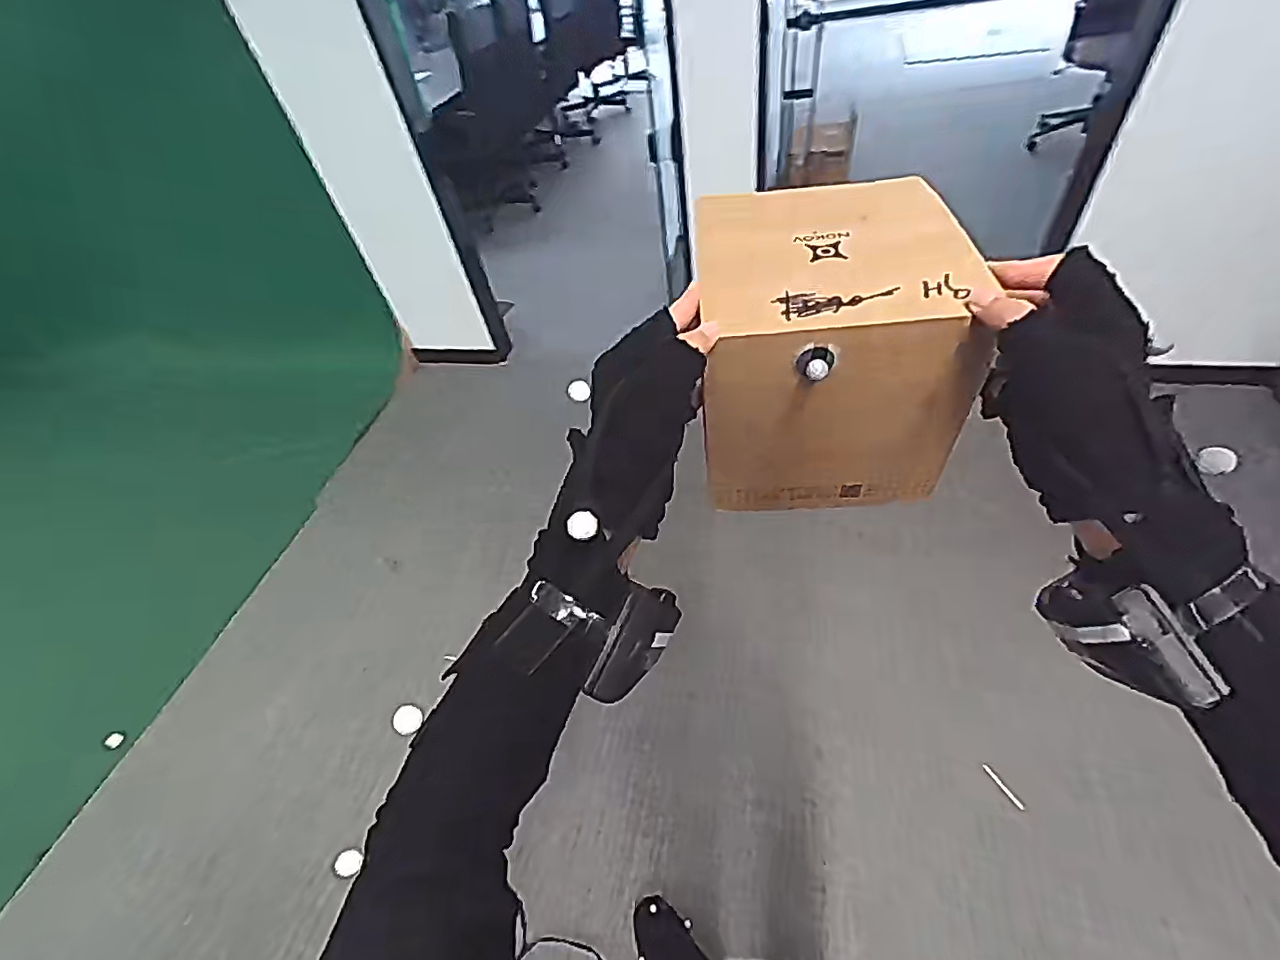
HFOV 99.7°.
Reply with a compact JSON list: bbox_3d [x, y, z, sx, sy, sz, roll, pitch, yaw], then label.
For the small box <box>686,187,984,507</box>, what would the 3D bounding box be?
[{"bbox_3d":[0.122,-0.098,0.418,0.168,0.176,0.179,-3,49,8],"label":"small box"}]
